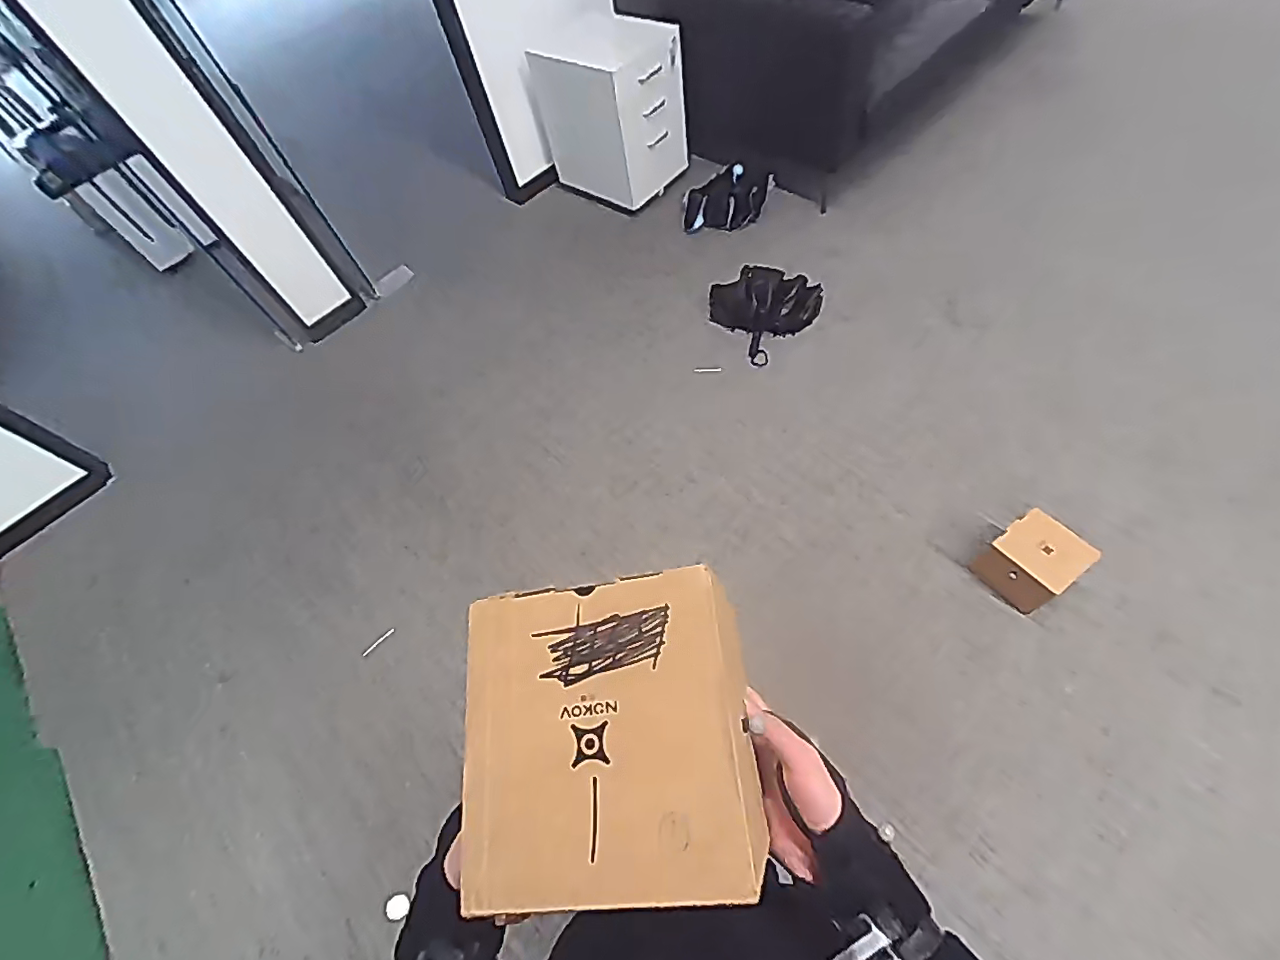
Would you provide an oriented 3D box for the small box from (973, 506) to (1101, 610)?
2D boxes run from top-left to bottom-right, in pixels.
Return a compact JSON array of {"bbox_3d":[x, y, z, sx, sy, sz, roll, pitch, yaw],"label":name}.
[{"bbox_3d":[1.002,0.205,1.386,0.168,0.176,0.179,-36,61,-10],"label":"small box"}]

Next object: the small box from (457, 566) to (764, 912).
[{"bbox_3d":[-0.009,0.177,0.389,0.168,0.176,0.179,-11,65,11],"label":"small box"}]
